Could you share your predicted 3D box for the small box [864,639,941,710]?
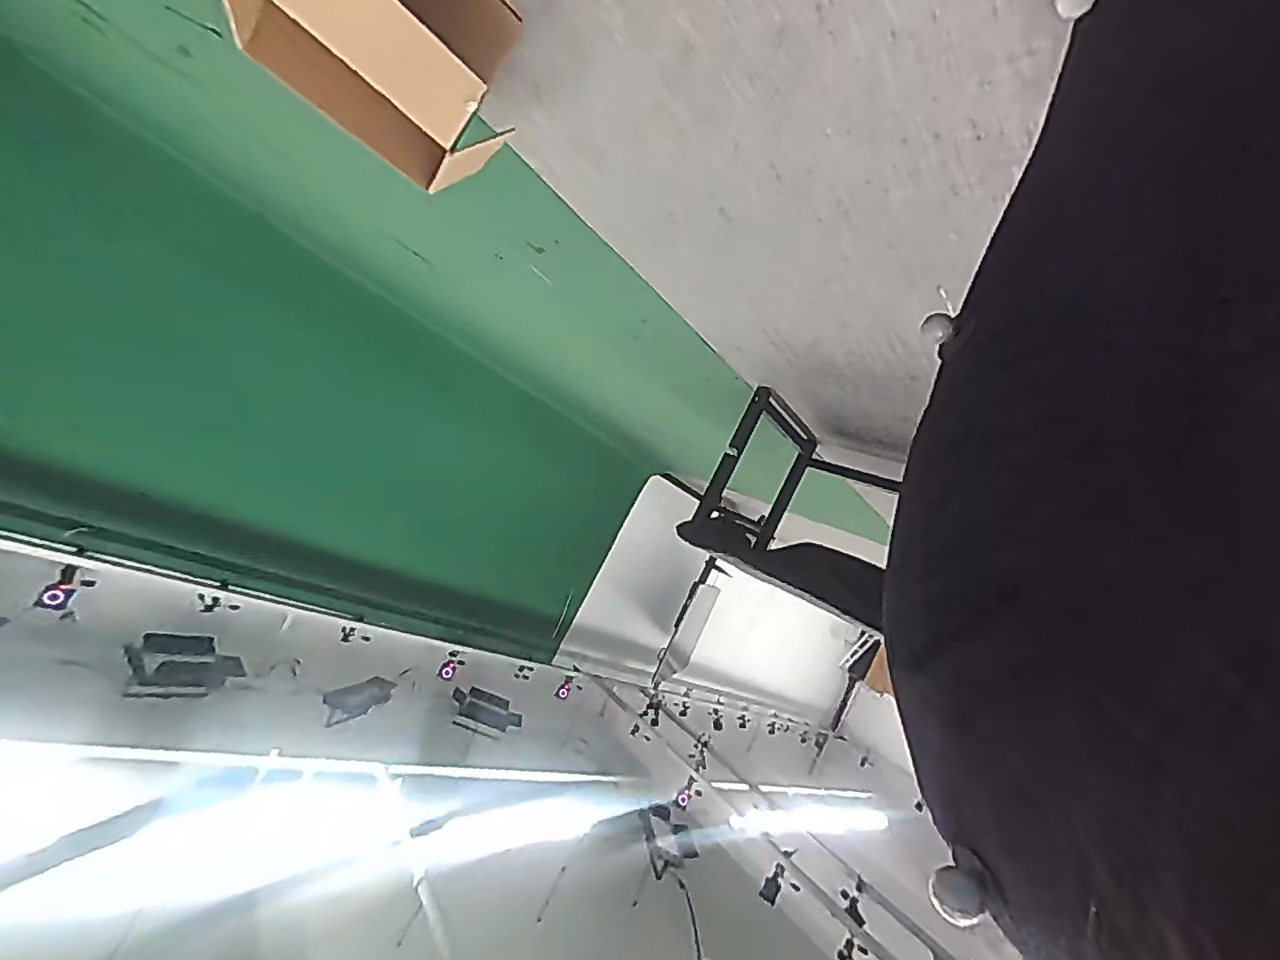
[{"bbox_3d":[0.884,0.649,1.817,0.168,0.176,0.179,23,174,41],"label":"small box"}]
